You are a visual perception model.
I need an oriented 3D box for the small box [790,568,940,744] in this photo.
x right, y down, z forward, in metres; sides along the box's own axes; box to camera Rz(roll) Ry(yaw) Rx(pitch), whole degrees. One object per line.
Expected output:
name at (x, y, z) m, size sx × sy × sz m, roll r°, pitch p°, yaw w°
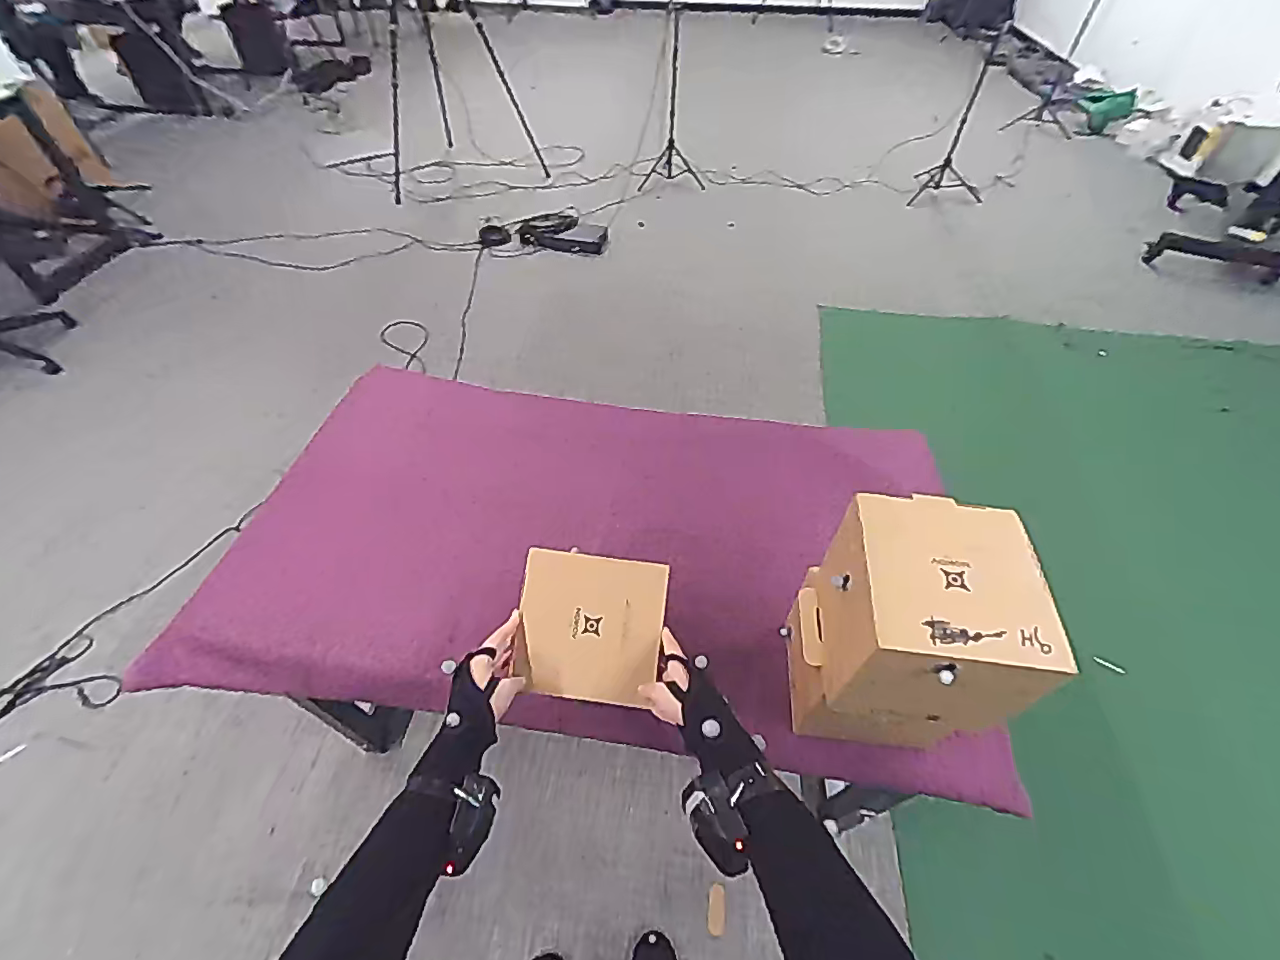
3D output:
small box at (0.300, 0.235, 0.713) m, size 0.179 × 0.176 × 0.168 m, roll 5°, pitch 50°, yaw 4°

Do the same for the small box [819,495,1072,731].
small box at (0.296, 0.142, 0.577) m, size 0.168 × 0.176 × 0.179 m, roll 6°, pitch 49°, yaw 6°

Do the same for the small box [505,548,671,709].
small box at (-0.056, 0.193, 0.716) m, size 0.179 × 0.176 × 0.168 m, roll 7°, pitch 75°, yaw 4°
